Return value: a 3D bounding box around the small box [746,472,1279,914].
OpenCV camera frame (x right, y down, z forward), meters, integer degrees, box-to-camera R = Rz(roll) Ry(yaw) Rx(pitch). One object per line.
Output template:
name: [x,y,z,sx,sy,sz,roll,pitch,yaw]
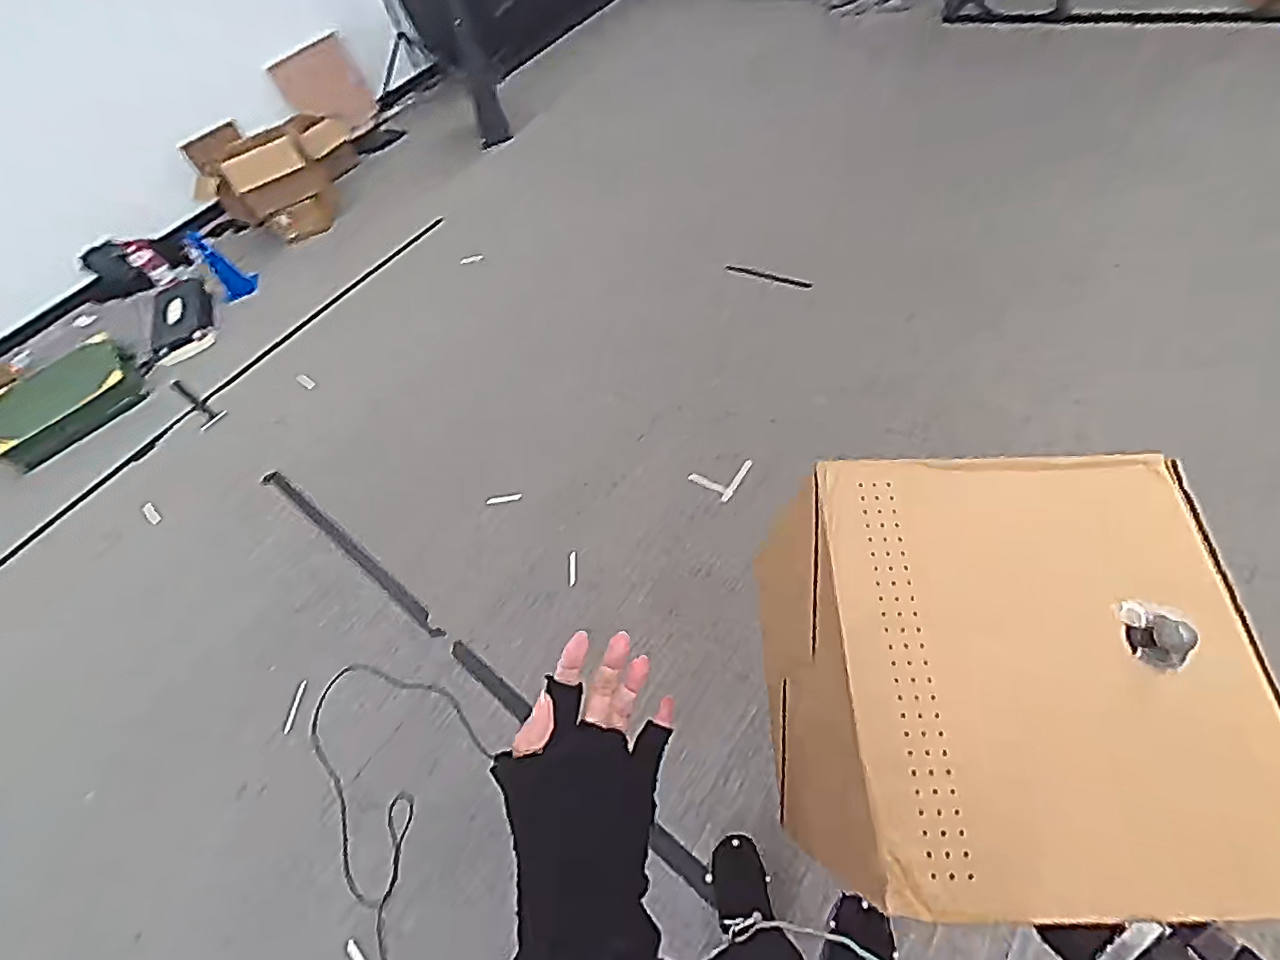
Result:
small box: [0.157,0.109,0.300,0.176,0.168,0.179,-2,66,1]
